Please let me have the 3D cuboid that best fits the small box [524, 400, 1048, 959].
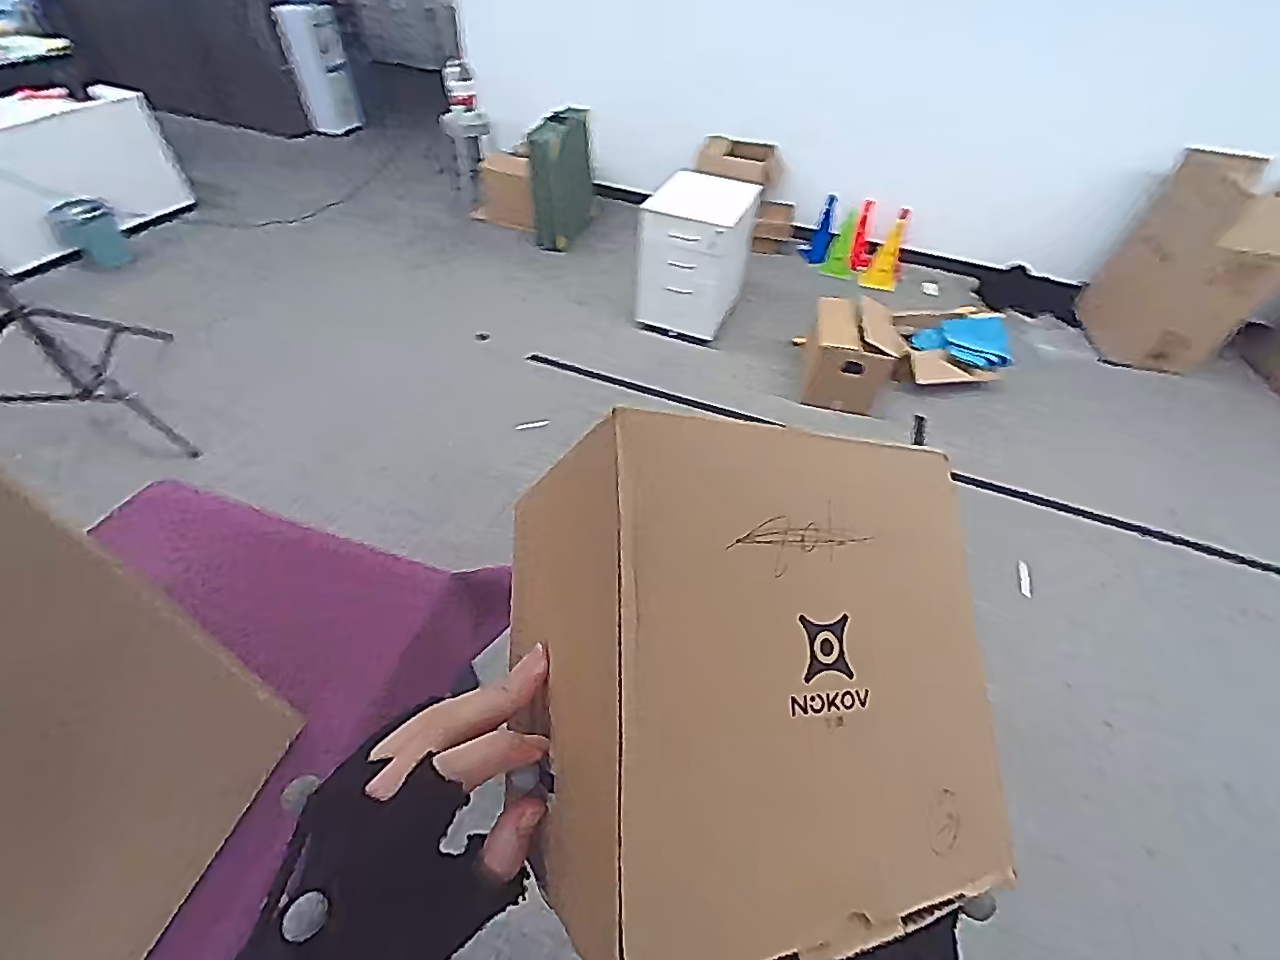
[{"bbox_3d":[0.044,0.082,0.263,0.168,0.176,0.179,5,73,-24],"label":"small box"}]
